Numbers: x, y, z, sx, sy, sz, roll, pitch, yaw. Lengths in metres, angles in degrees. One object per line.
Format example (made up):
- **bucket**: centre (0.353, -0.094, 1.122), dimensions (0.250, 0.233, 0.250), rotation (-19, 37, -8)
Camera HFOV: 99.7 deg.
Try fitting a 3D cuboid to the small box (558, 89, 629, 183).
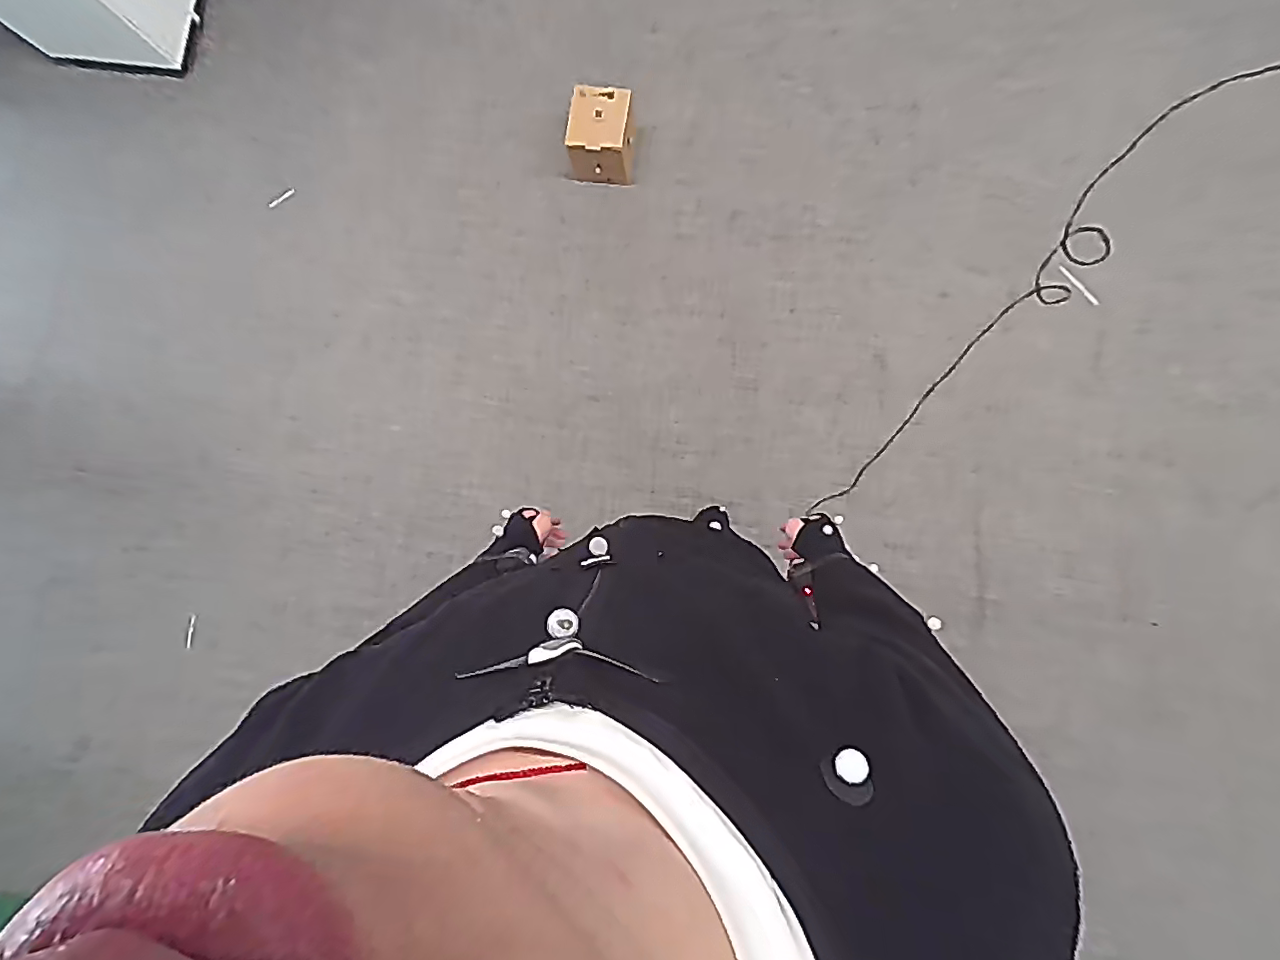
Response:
- **small box**: centre (-0.130, -0.999, 1.582), dimensions (0.168, 0.176, 0.179), rotation (6, 87, 7)
